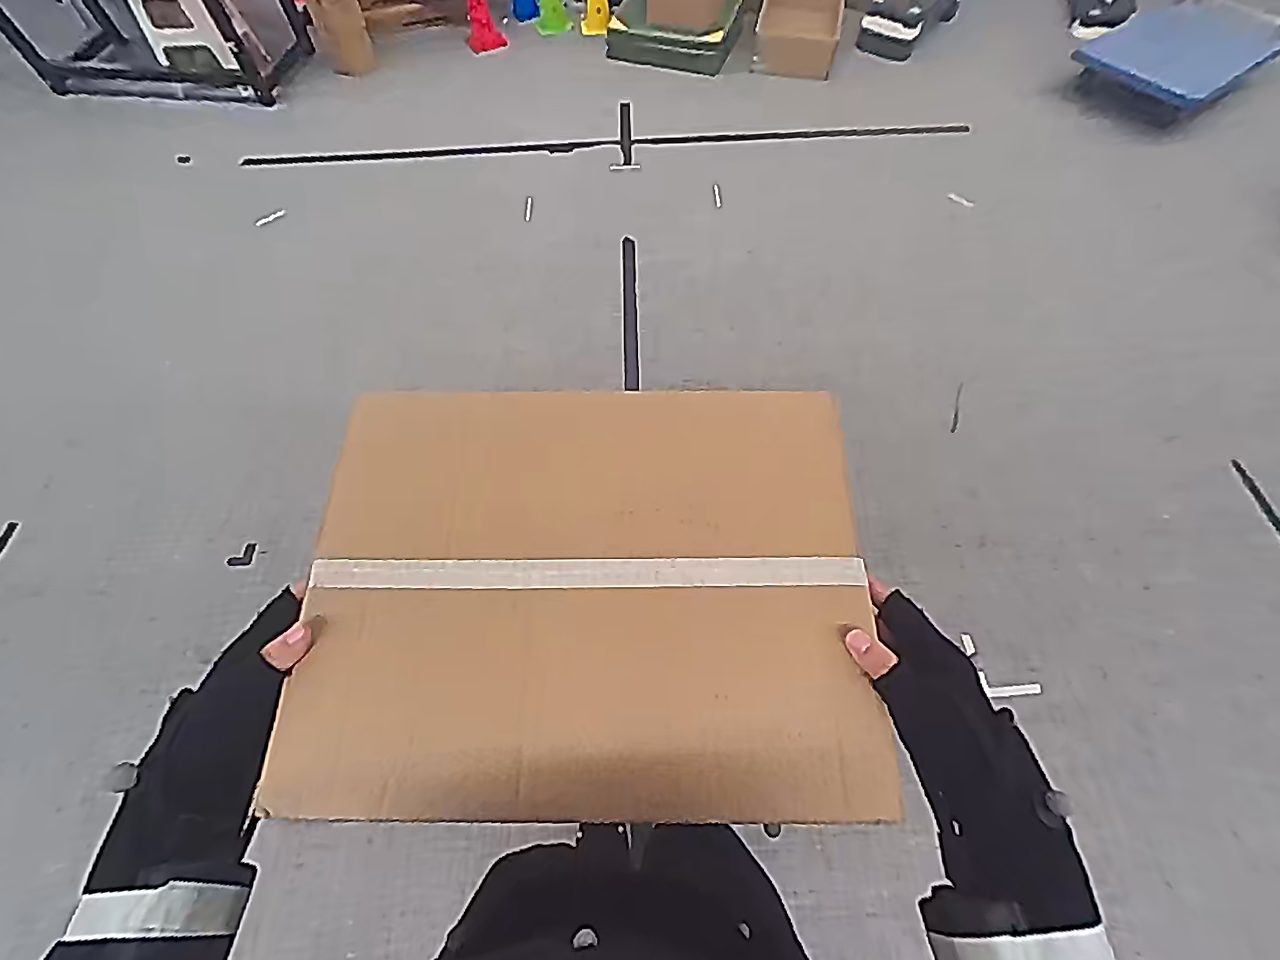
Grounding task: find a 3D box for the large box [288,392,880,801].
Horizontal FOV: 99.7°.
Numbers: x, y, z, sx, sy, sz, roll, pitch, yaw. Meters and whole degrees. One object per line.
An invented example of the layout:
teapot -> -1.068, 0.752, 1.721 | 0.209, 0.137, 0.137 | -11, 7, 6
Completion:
large box -> -0.035, 0.122, 0.551 | 0.408, 0.320, 0.320 | 0, 67, 1
